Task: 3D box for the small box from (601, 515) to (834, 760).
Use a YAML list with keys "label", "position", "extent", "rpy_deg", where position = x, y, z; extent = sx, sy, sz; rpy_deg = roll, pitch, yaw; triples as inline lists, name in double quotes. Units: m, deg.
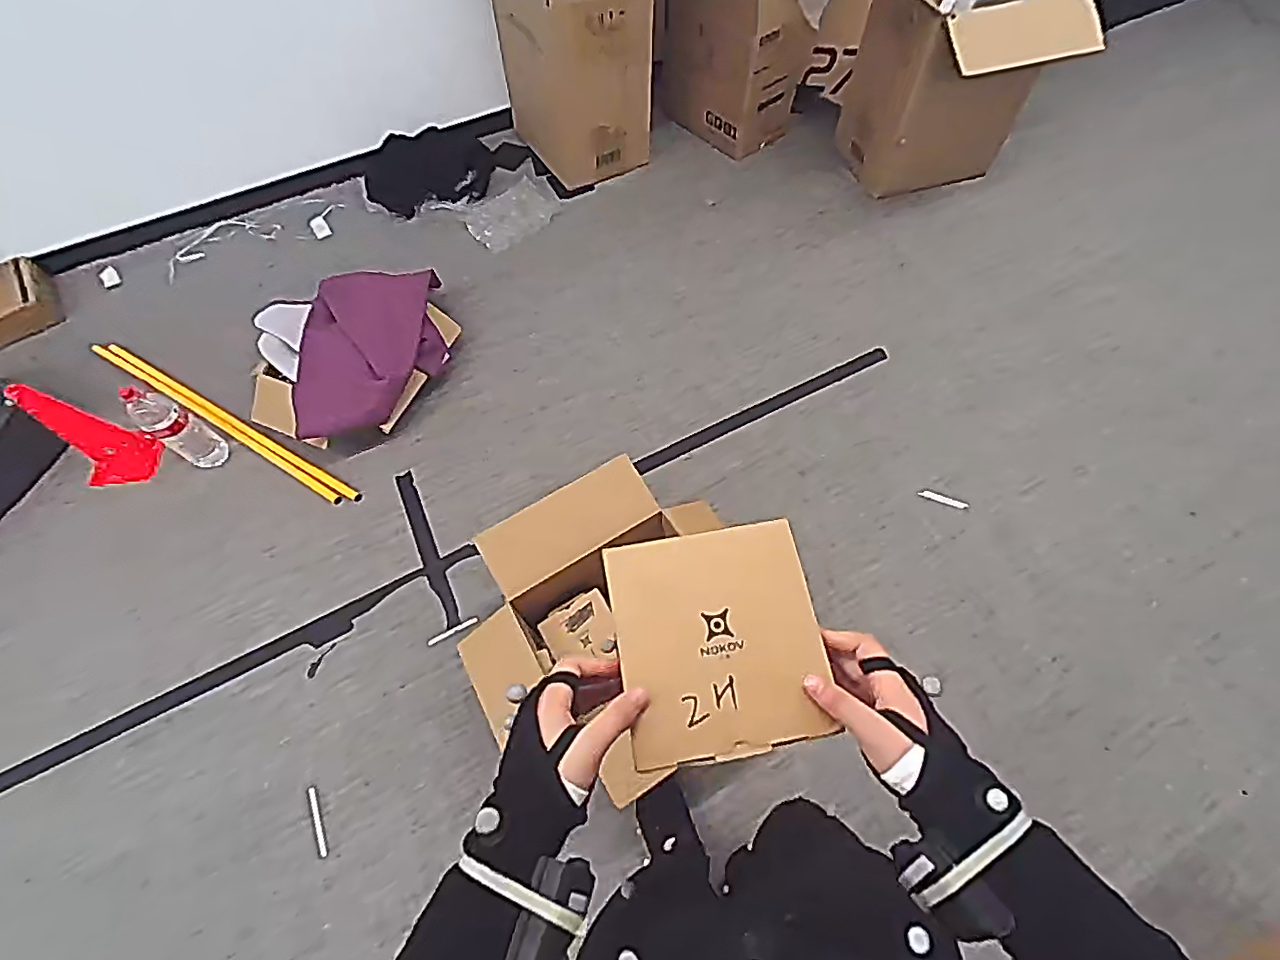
- label: "small box"
  position: [0.057, 0.150, 0.516]
  extent: [0.168, 0.176, 0.179]
  rpy_deg: [-9, 70, -3]
